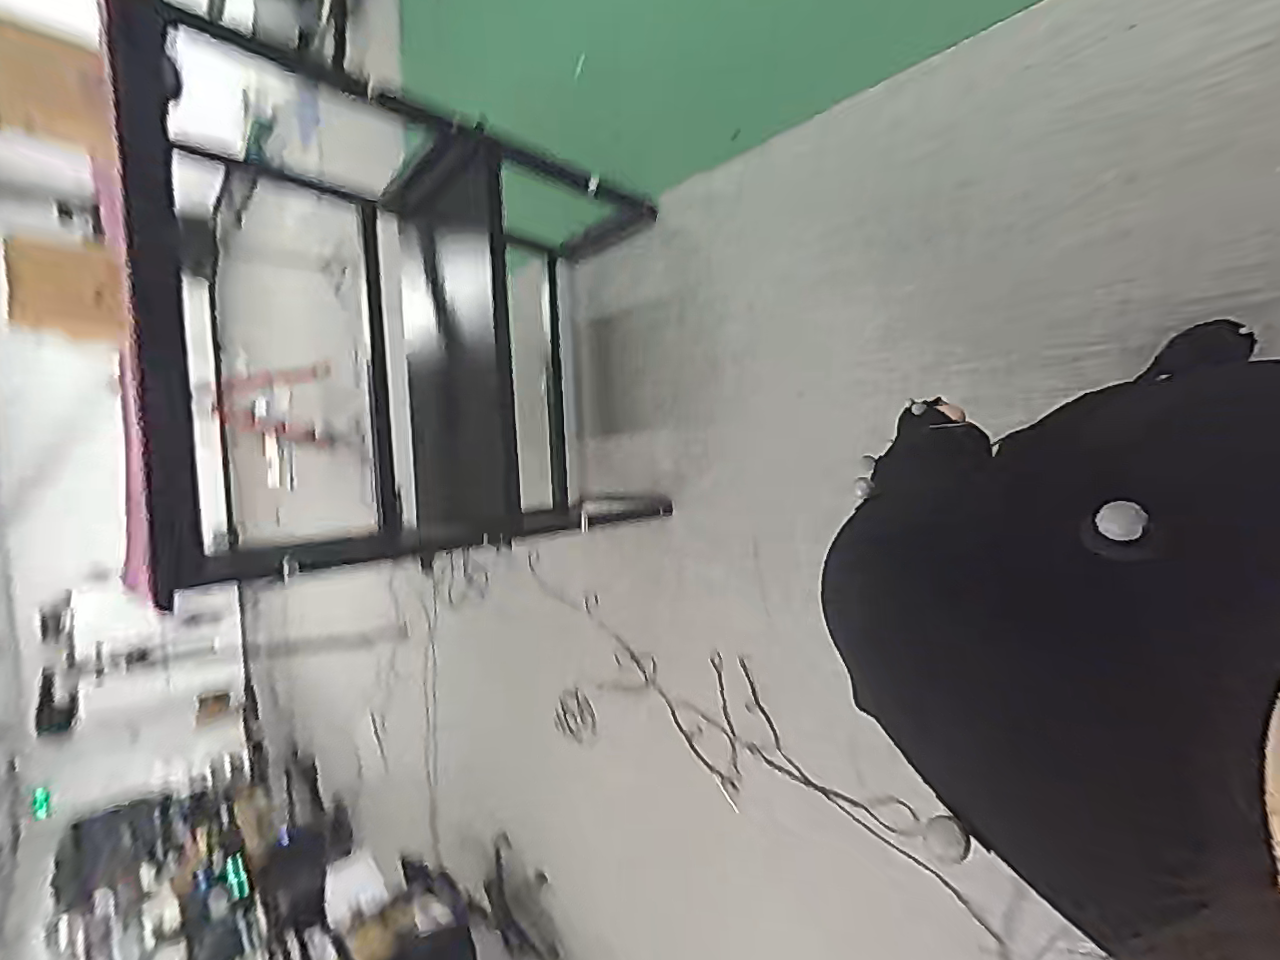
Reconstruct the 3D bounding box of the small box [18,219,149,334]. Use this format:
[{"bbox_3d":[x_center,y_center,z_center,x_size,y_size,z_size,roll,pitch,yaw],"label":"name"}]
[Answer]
[{"bbox_3d":[-1.096,-0.392,1.077,0.179,0.176,0.168,5,97,46],"label":"small box"}]
